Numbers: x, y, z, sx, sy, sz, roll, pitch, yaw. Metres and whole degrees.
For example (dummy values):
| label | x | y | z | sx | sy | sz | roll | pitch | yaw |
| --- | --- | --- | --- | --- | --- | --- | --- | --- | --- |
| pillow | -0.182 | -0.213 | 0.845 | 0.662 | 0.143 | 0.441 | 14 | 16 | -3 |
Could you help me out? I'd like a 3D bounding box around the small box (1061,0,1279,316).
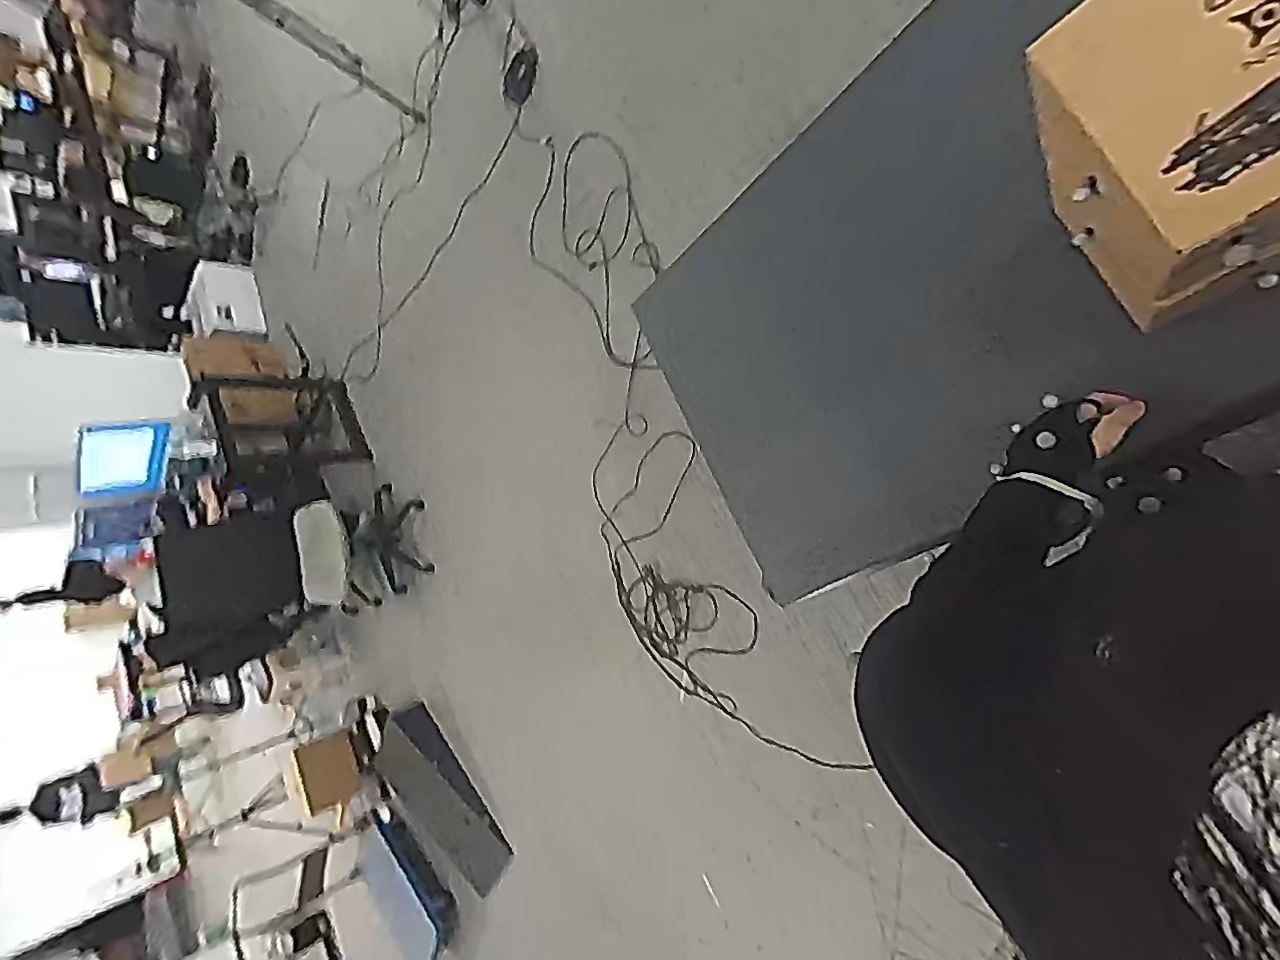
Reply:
| label | x | y | z | sx | sy | sz | roll | pitch | yaw |
| --- | --- | --- | --- | --- | --- | --- | --- | --- | --- |
| small box | 0.510 | -0.269 | 0.475 | 0.168 | 0.176 | 0.179 | -35 | 72 | 37 |
